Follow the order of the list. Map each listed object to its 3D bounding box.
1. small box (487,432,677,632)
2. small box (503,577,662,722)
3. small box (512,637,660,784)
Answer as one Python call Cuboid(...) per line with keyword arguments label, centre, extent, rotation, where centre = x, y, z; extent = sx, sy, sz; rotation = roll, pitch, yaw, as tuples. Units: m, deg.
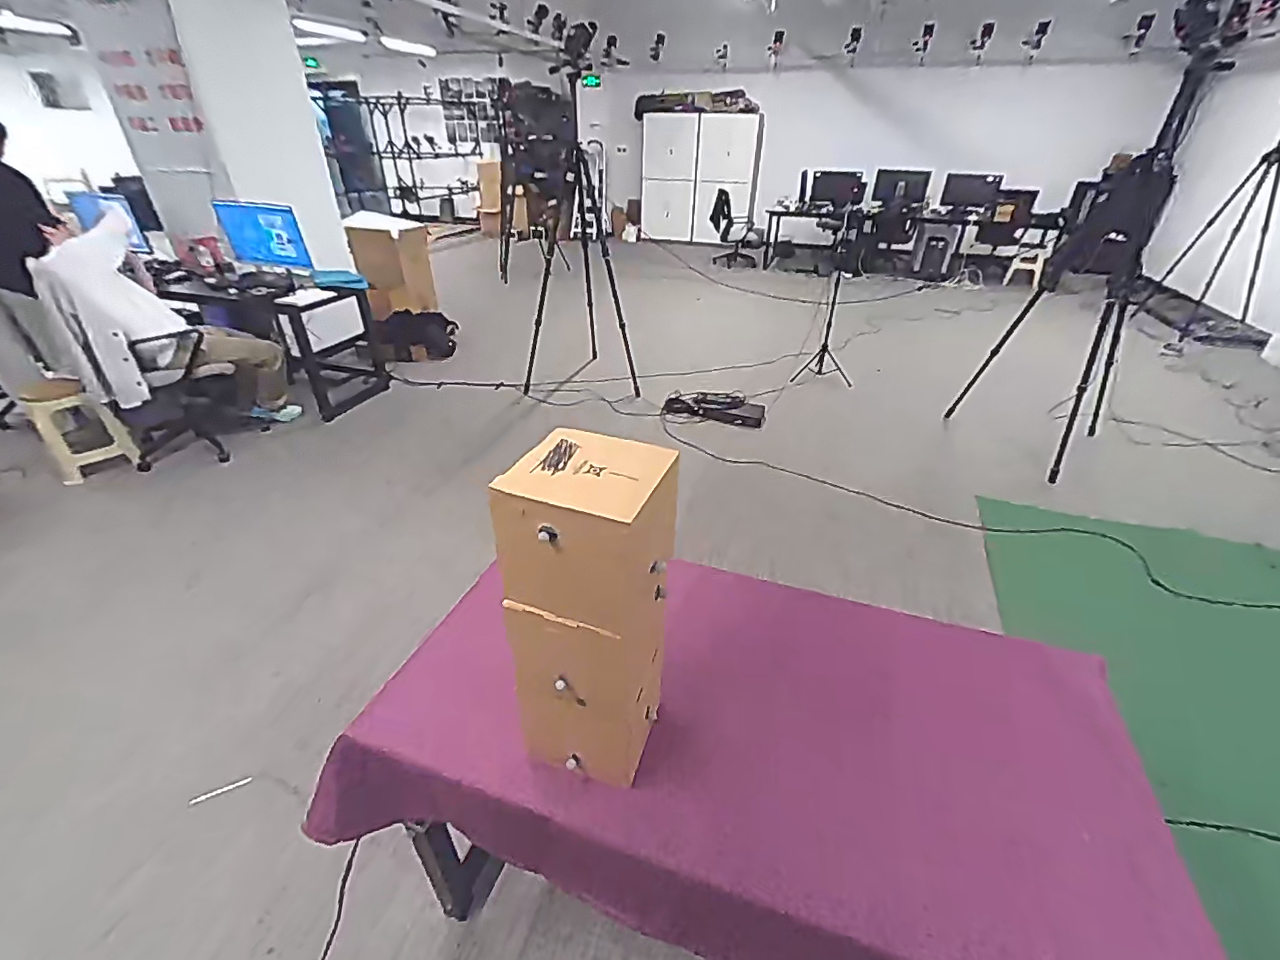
Cuboid(label="small box", centre=(-0.064, 0.061, 0.678), extent=(0.179, 0.176, 0.168), rotation=(13, 34, 17))
Cuboid(label="small box", centre=(-0.073, 0.200, 0.766), extent=(0.168, 0.176, 0.179), rotation=(11, 34, 16))
Cuboid(label="small box", centre=(-0.078, 0.342, 0.850), extent=(0.179, 0.176, 0.168), rotation=(11, 33, 14))
